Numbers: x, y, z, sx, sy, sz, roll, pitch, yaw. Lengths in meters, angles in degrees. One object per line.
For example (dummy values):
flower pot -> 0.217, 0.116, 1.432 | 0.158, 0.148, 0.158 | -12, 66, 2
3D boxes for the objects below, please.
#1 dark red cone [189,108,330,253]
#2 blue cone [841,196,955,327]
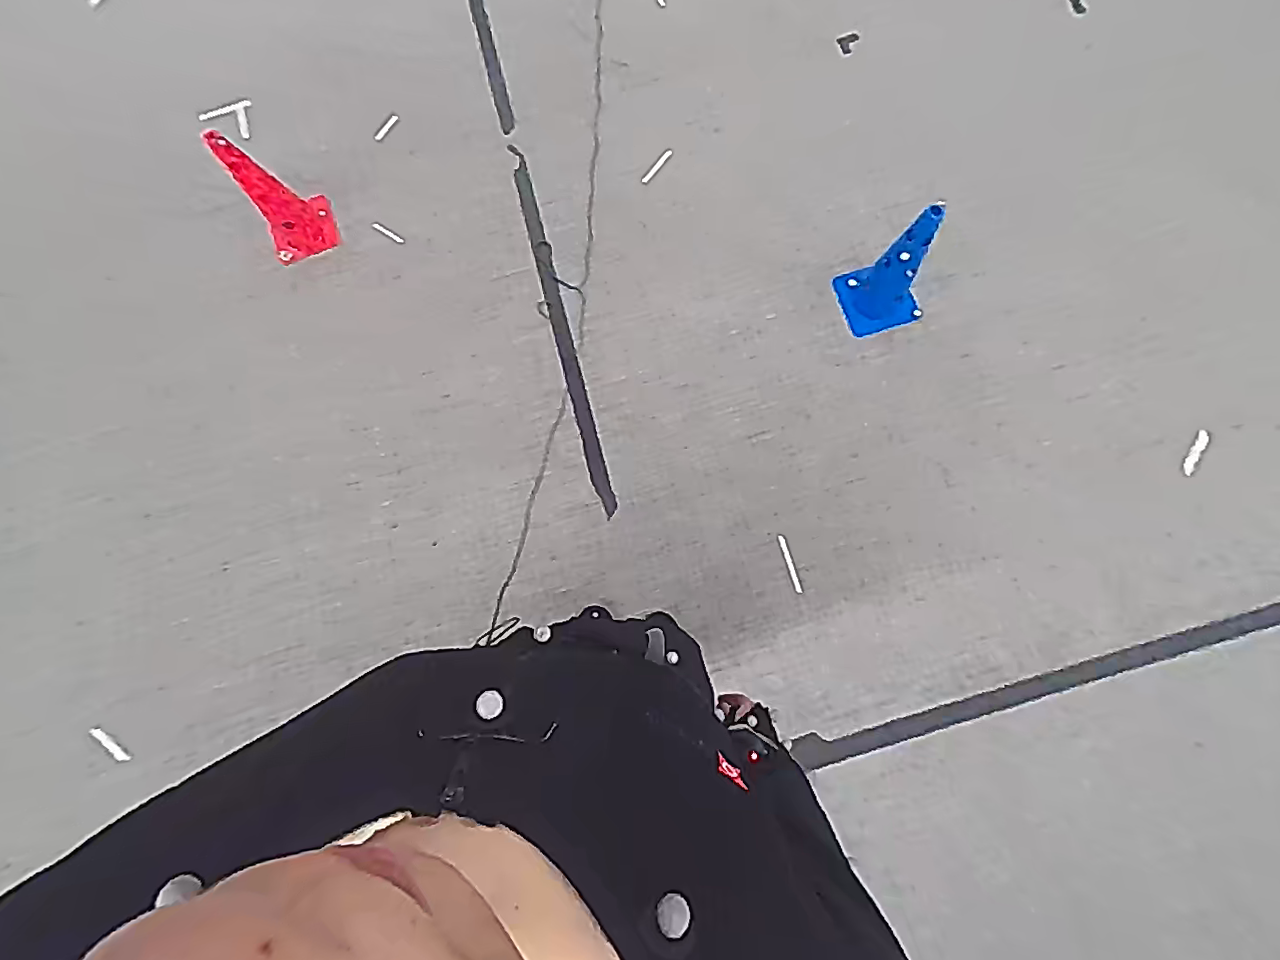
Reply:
dark red cone -> -1.066, -0.837, 1.495 | 0.201, 0.394, 0.202 | -23, 77, -3
blue cone -> 0.667, -0.561, 1.358 | 0.192, 0.380, 0.193 | -15, 77, -1
